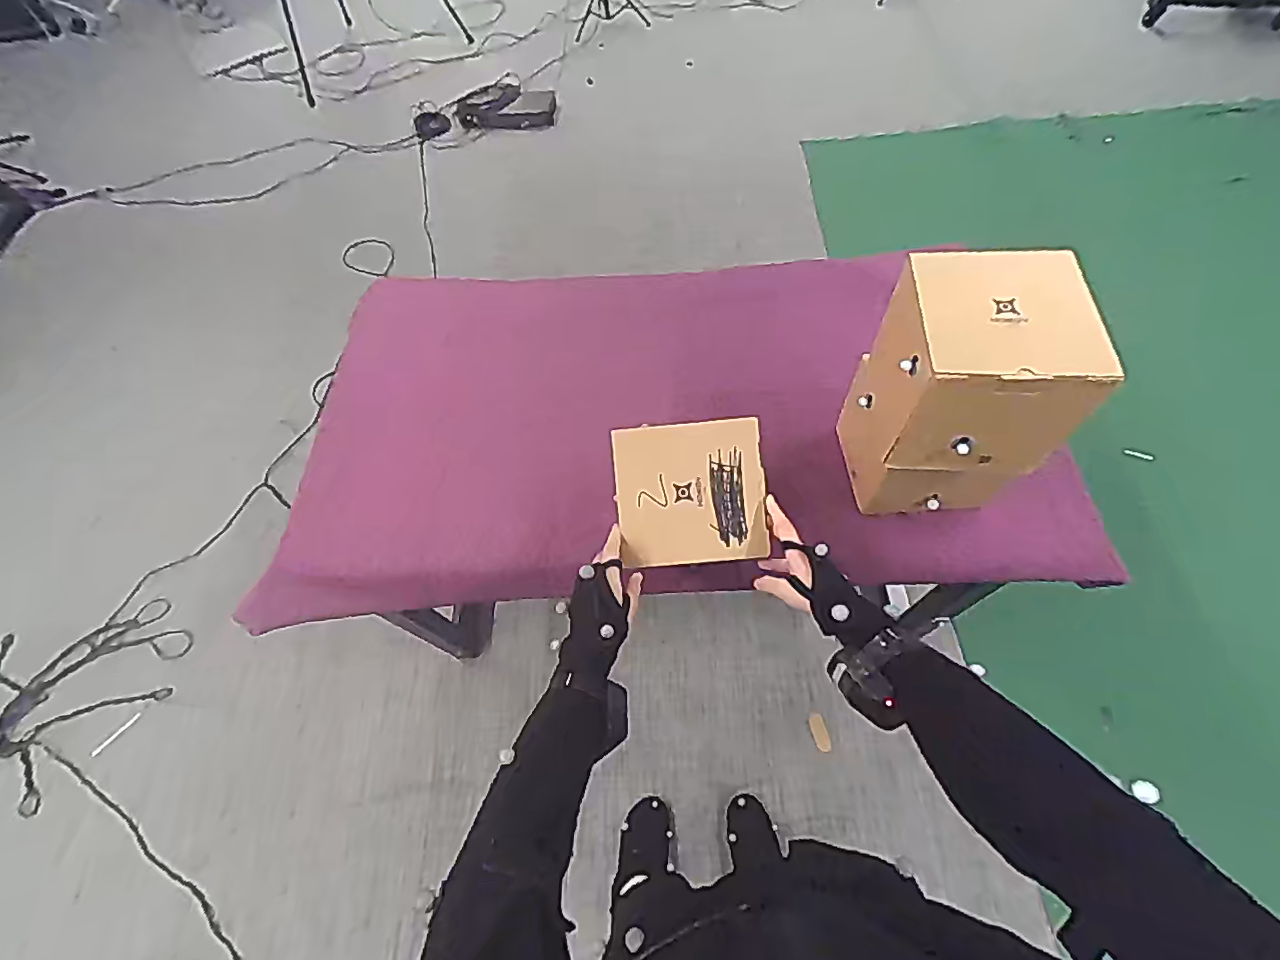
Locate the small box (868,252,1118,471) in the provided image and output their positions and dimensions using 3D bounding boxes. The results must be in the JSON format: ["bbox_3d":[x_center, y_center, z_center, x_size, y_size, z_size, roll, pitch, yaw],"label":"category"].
[{"bbox_3d":[0.366,-0.129,0.606,0.168,0.176,0.179,2,60,8],"label":"small box"}]

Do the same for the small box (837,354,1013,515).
[{"bbox_3d":[0.396,-0.063,0.755,0.179,0.176,0.168,-5,58,4],"label":"small box"}]
